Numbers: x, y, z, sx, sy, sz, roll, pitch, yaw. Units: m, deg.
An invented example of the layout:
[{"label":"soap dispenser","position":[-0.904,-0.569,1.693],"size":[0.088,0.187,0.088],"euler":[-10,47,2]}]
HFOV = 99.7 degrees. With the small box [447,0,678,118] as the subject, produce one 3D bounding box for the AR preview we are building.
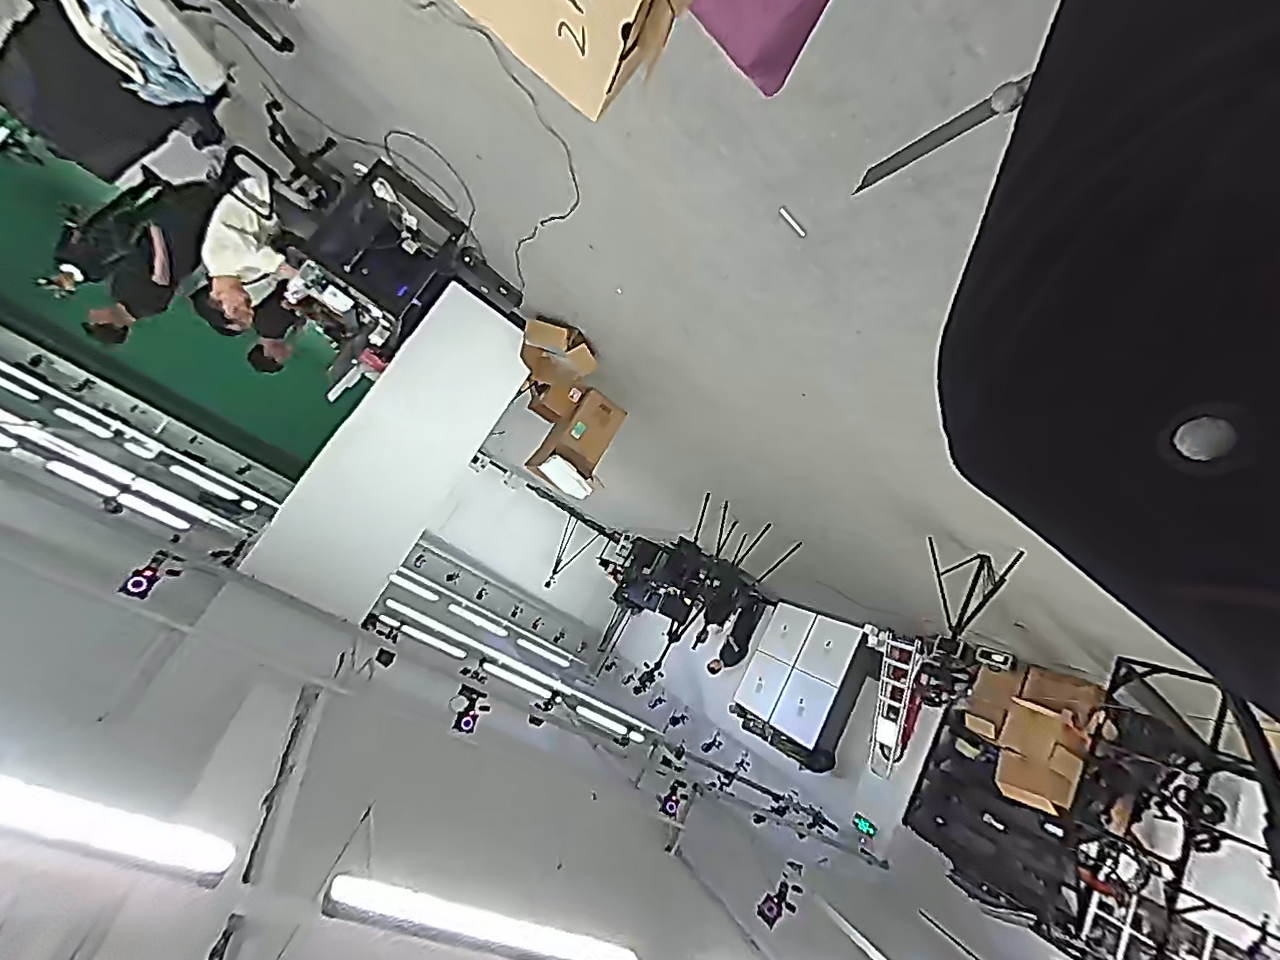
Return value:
[{"label":"small box","position":[-0.039,-0.396,0.340],"size":[0.179,0.176,0.168],"euler":[34,167,-15]}]
